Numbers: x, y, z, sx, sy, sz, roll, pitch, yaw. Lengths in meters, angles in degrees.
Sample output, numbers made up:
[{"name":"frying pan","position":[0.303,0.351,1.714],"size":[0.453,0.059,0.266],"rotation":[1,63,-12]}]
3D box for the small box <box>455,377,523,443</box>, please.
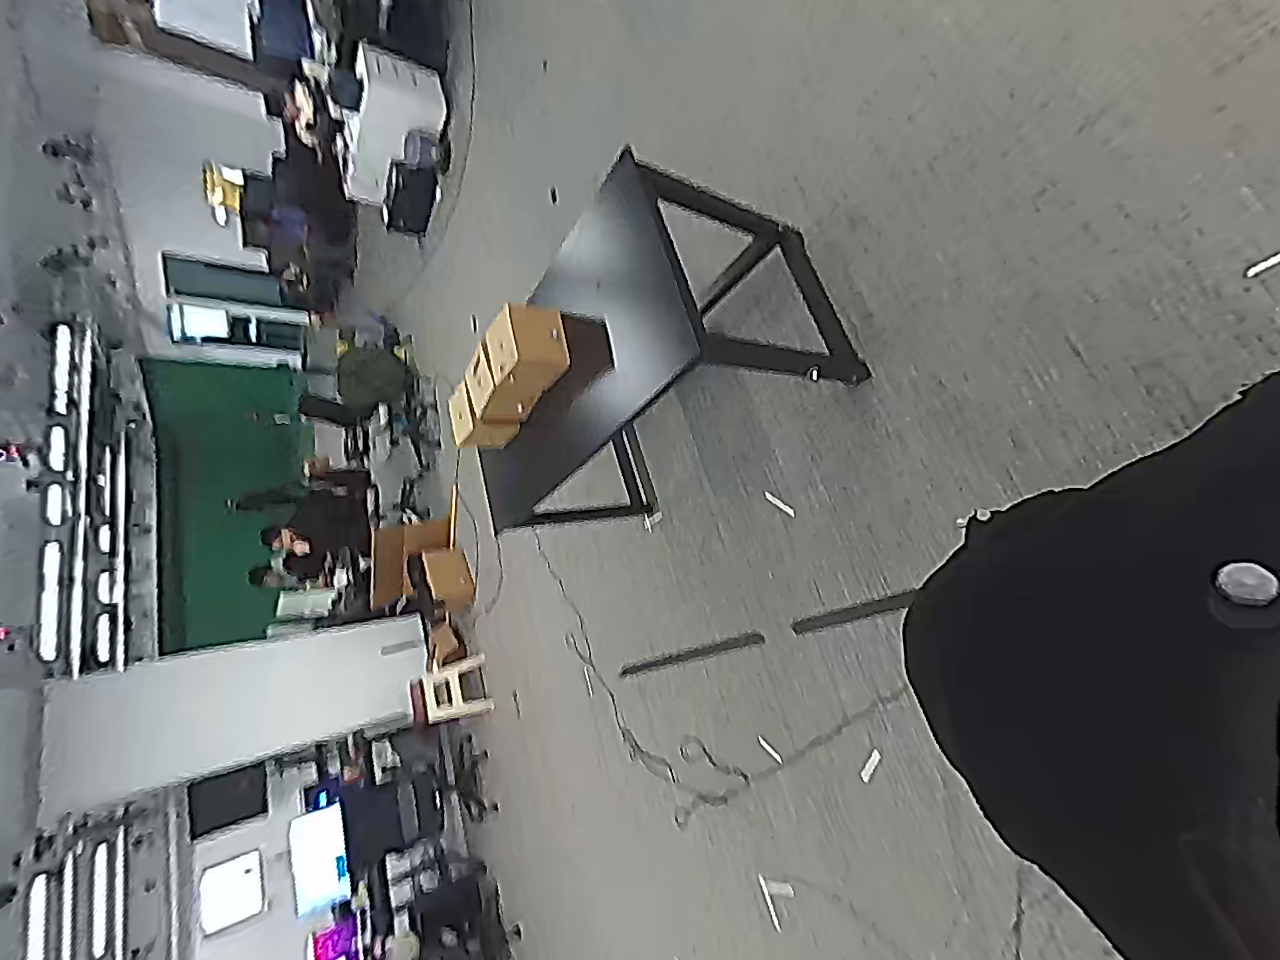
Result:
[{"name":"small box","position":[-0.517,-0.237,1.859],"size":[0.168,0.176,0.179],"rotation":[-32,67,47]}]
